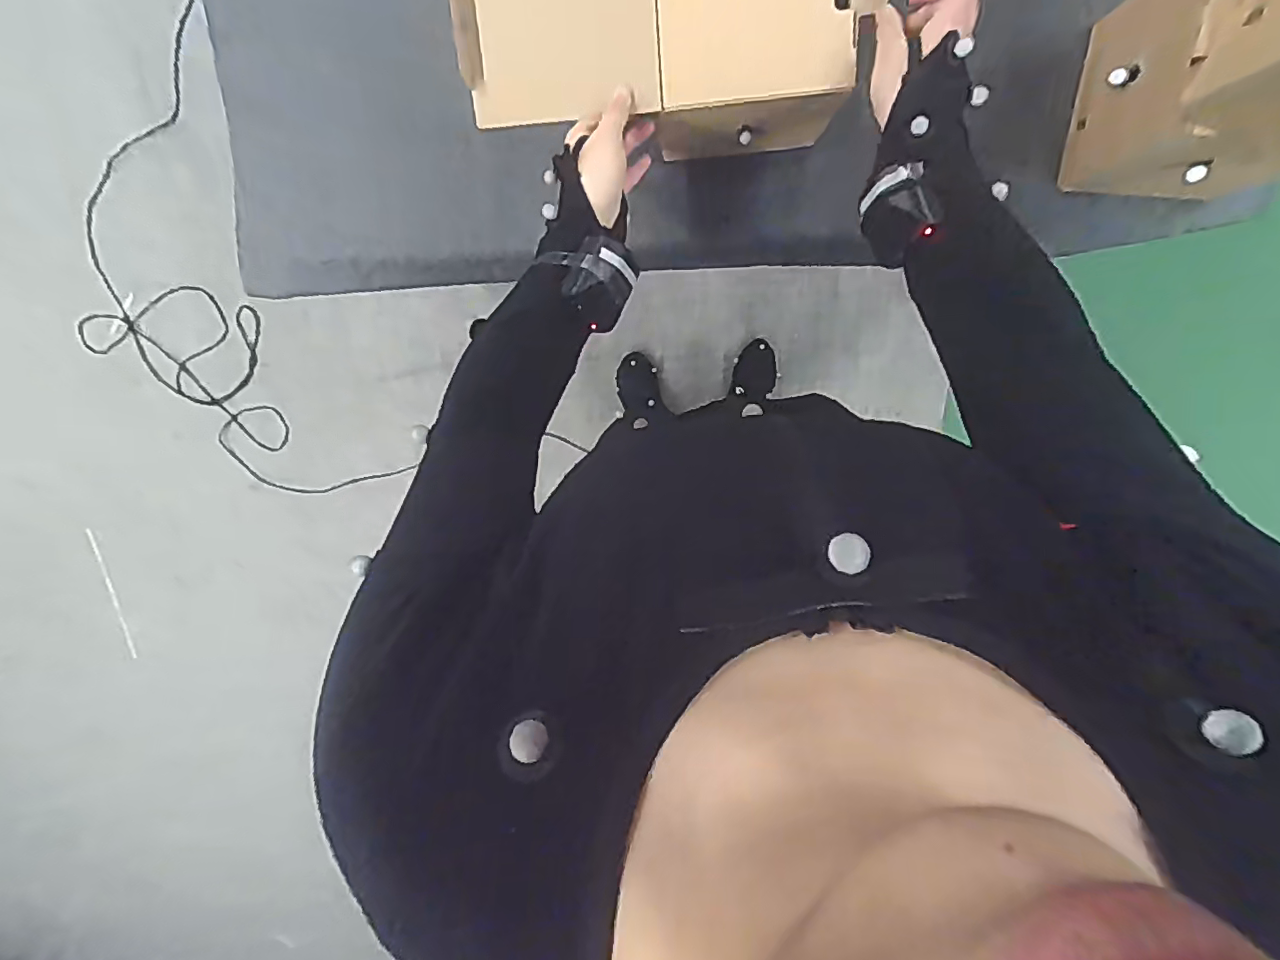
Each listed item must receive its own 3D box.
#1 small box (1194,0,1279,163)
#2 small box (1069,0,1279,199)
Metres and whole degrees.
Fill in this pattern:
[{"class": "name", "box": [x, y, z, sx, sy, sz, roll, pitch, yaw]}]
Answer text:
[{"class": "small box", "box": [0.558, -0.326, 0.362, 0.179, 0.176, 0.168, 25, 104, -3]}, {"class": "small box", "box": [0.566, -0.382, 0.516, 0.179, 0.176, 0.168, 5, 104, 3]}]
